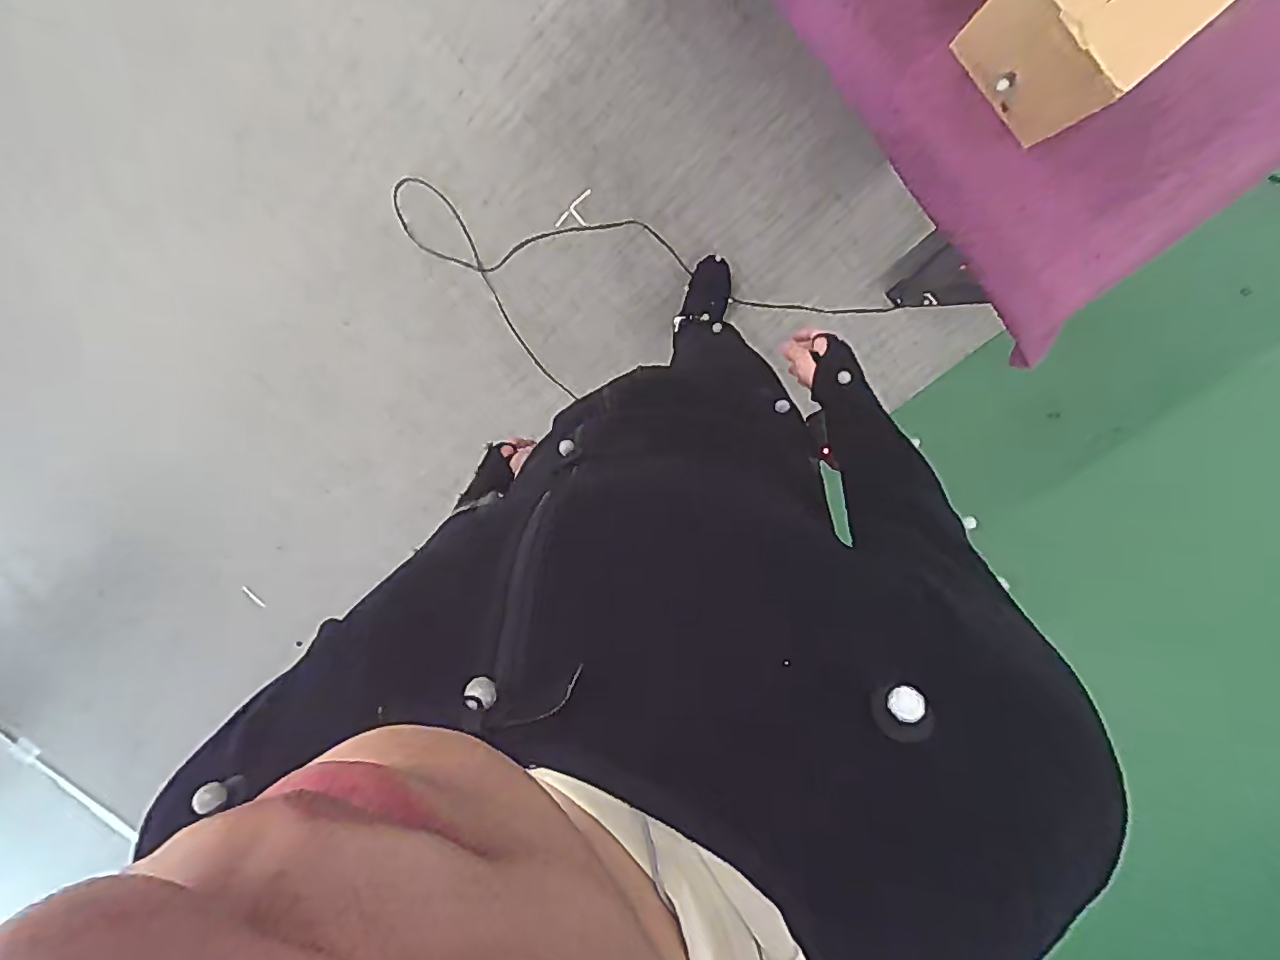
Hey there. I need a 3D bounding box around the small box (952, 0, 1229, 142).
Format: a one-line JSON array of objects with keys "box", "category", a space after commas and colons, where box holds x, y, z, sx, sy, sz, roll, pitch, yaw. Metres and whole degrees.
[{"box": [0.489, -0.518, 0.586, 0.179, 0.176, 0.168, -41, 98, 15], "category": "small box"}]
